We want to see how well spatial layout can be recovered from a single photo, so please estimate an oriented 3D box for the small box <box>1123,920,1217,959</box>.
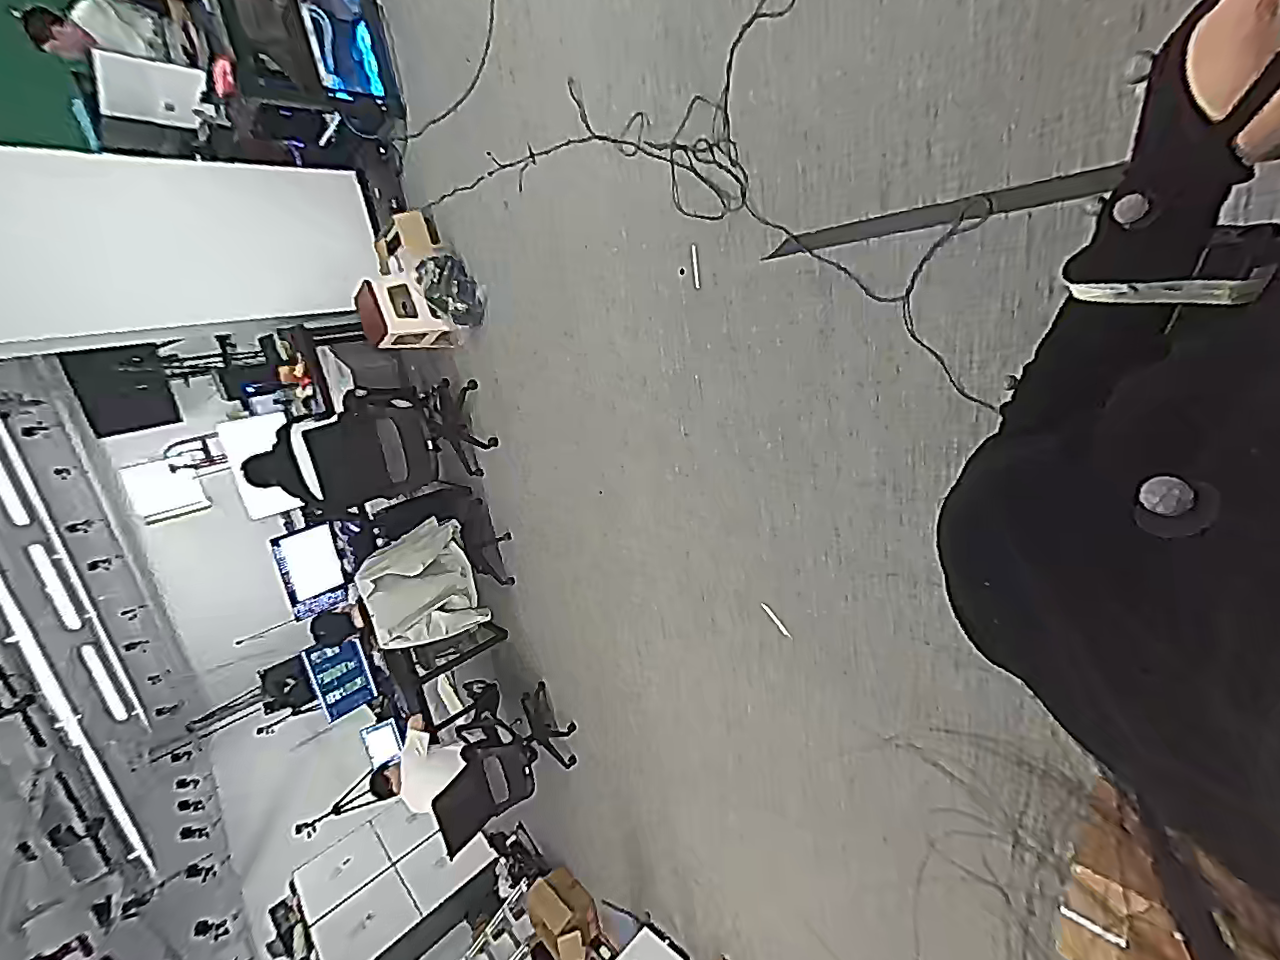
[{"bbox_3d":[1.066,1.039,1.066,0.179,0.176,0.168,9,113,48],"label":"small box"}]
